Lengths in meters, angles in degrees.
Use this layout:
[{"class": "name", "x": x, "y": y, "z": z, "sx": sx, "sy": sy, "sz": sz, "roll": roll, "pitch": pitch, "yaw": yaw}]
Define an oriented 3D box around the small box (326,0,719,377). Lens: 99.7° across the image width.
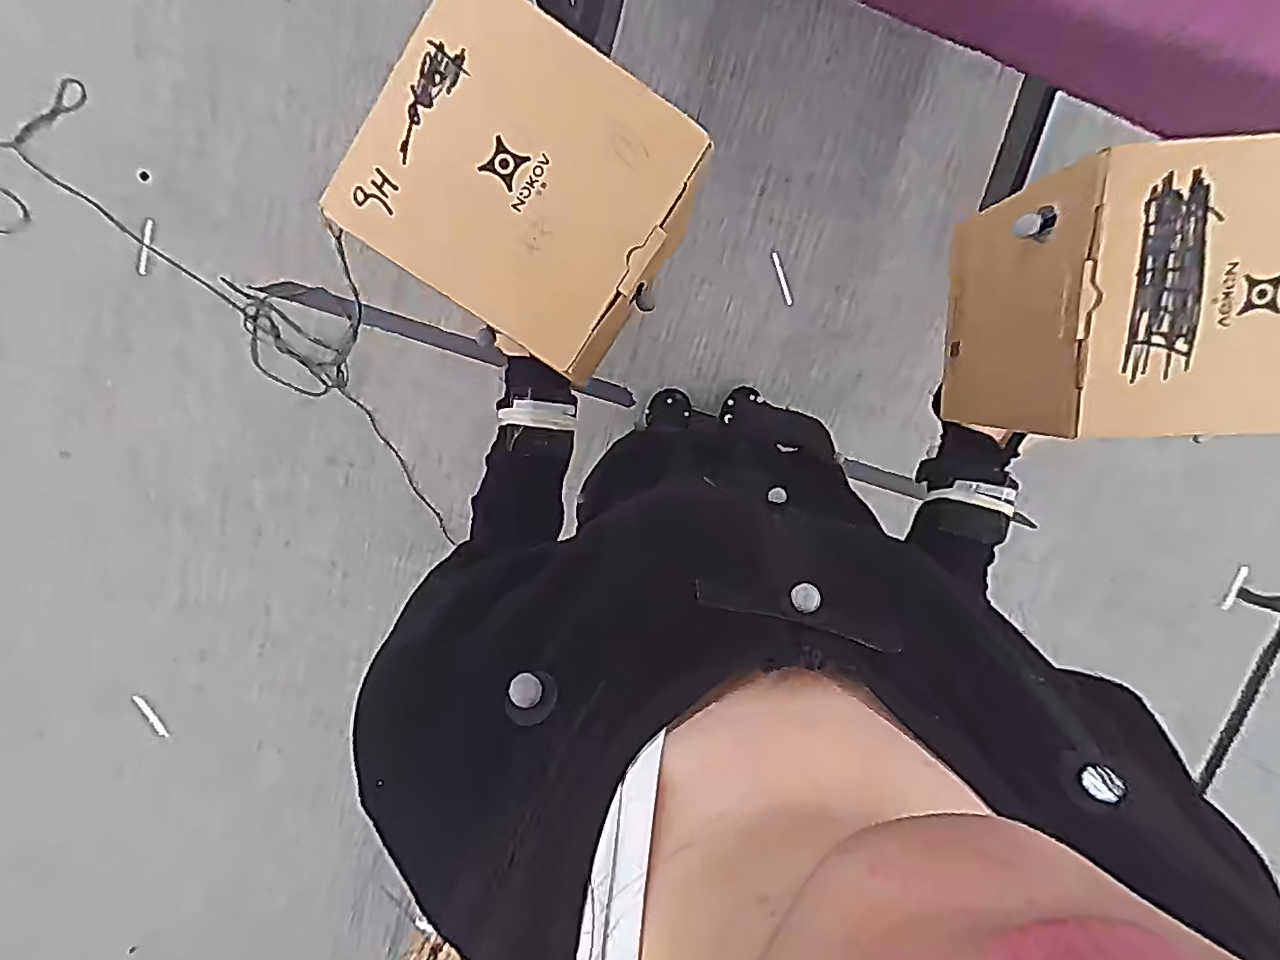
[{"class": "small box", "x": -0.071, "y": -0.190, "z": 0.395, "sx": 0.179, "sy": 0.176, "sz": 0.168, "roll": 33, "pitch": 95, "yaw": -7}]
